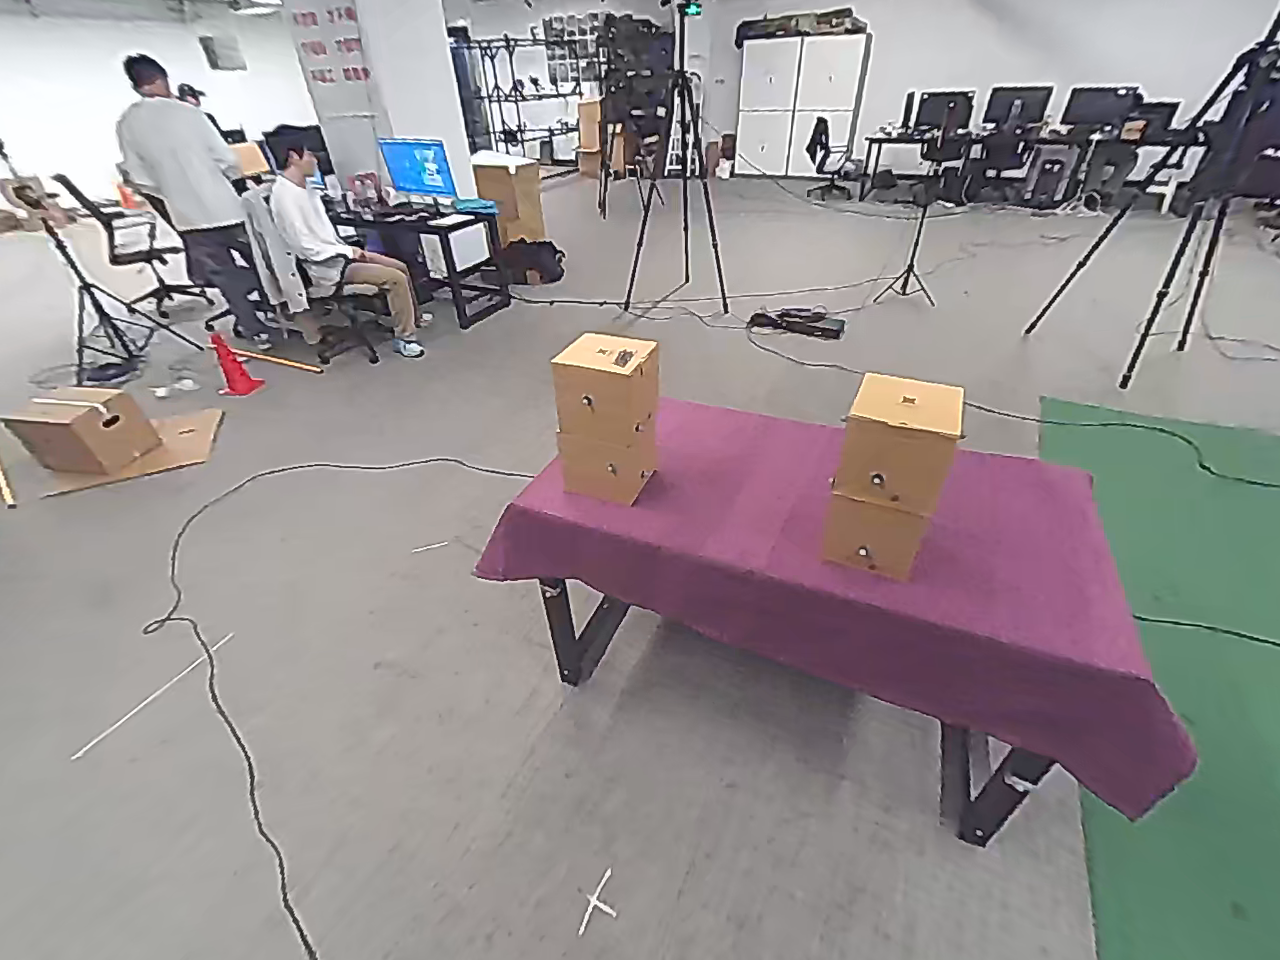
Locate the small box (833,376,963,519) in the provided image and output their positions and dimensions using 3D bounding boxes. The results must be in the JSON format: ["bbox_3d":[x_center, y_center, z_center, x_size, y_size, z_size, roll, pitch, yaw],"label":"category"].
[{"bbox_3d":[0.454,-0.061,0.961,0.168,0.176,0.179,16,41,22],"label":"small box"}]

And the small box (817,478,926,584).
[{"bbox_3d":[0.456,0.069,1.060,0.168,0.176,0.179,15,40,23],"label":"small box"}]

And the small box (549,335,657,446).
[{"bbox_3d":[-0.071,-0.191,1.161,0.179,0.176,0.168,12,39,18],"label":"small box"}]
